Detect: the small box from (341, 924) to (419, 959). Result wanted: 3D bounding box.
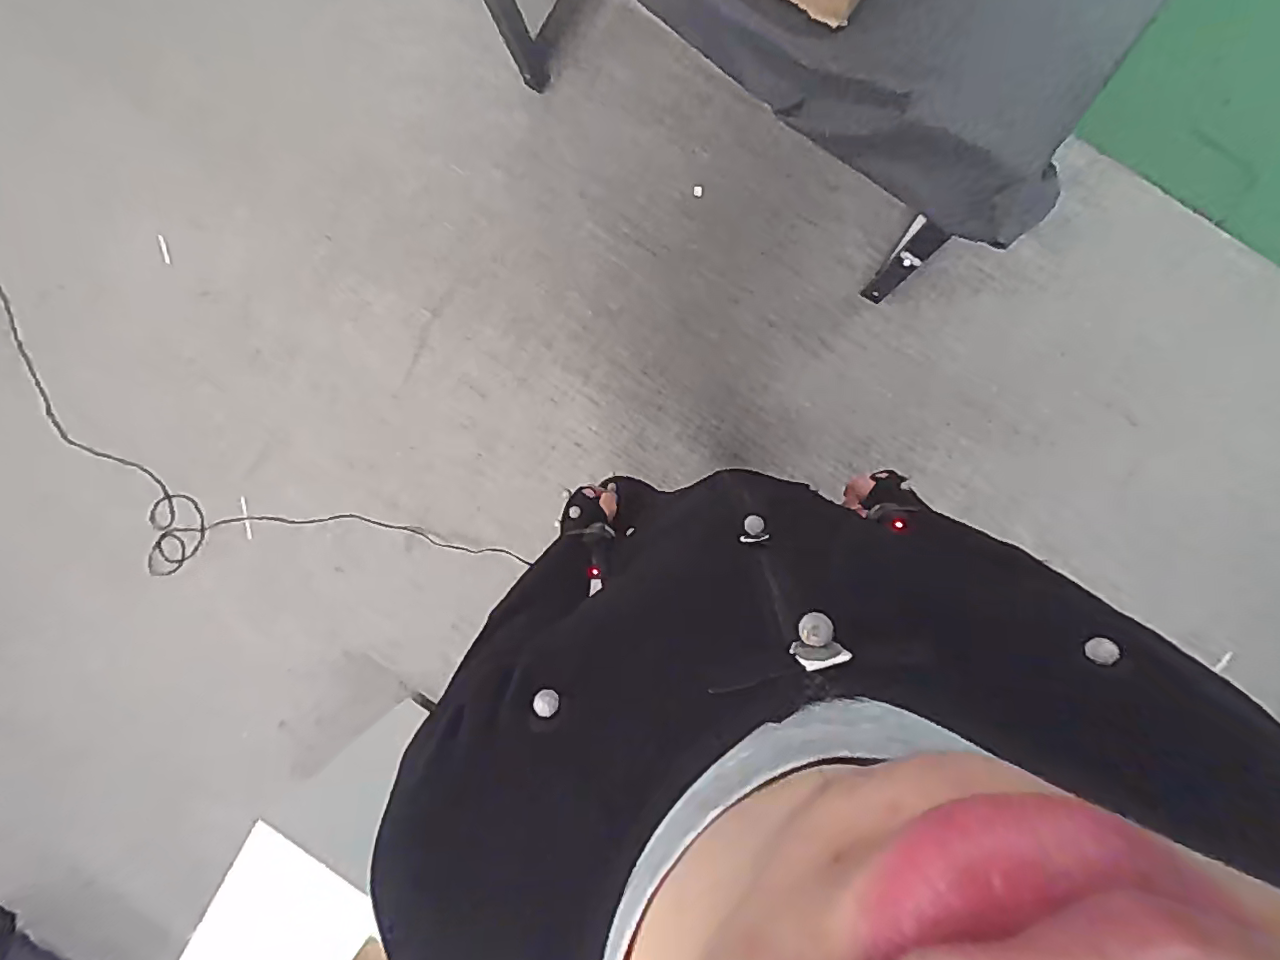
[{"bbox_3d":[-0.533,1.006,1.012,0.168,0.176,0.179,33,98,5],"label":"small box"}]
